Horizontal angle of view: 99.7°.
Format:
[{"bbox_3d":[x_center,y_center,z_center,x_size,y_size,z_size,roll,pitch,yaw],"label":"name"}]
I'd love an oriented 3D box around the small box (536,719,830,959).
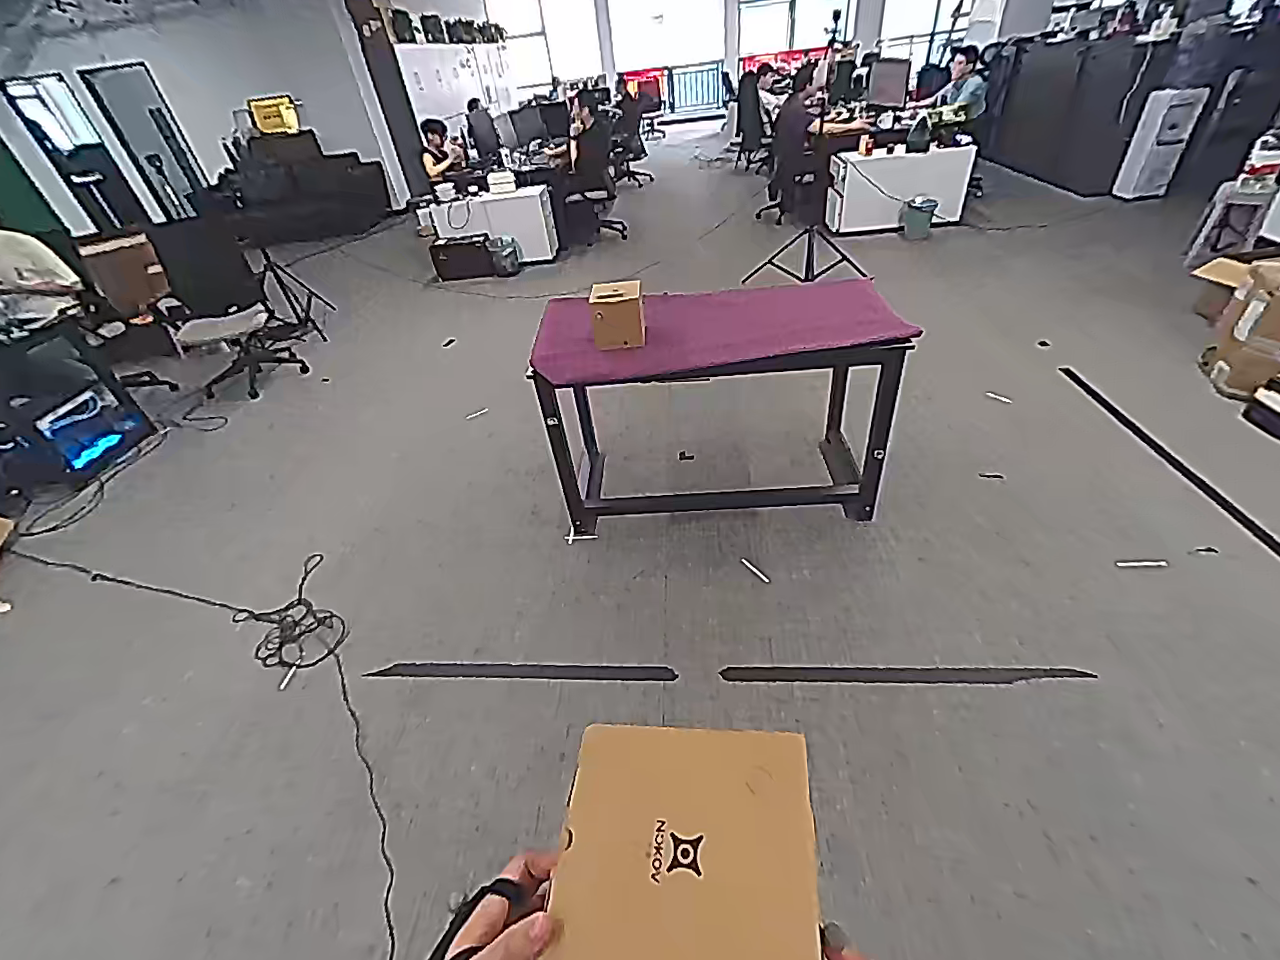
[{"bbox_3d":[0.048,0.302,0.409,0.179,0.176,0.168,-6,41,16],"label":"small box"}]
